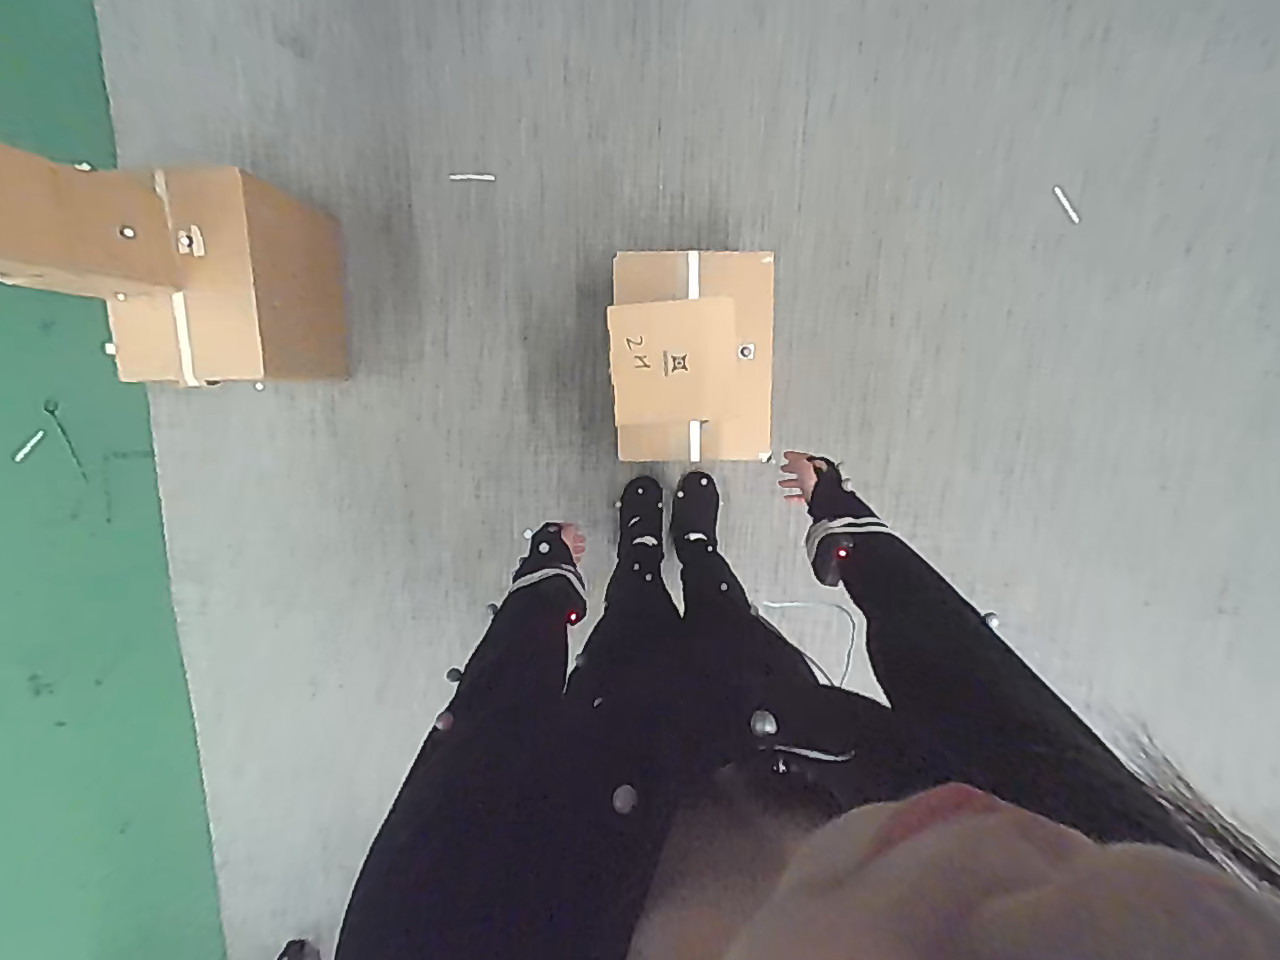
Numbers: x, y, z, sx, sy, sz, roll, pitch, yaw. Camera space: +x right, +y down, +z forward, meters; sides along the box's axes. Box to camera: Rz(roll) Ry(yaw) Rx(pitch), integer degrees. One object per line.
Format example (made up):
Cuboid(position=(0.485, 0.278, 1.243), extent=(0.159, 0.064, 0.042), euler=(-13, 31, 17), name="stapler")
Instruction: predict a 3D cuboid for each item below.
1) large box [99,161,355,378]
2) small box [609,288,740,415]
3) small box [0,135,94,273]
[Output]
Cuboid(position=(-0.900, -0.442, 1.231), extent=(0.320, 0.320, 0.408), euler=(0, 99, 3), name="large box")
Cuboid(position=(0.053, -0.191, 0.825), extent=(0.179, 0.176, 0.168), euler=(-3, 100, 5), name="small box")
Cuboid(position=(-1.005, -0.425, 0.825), extent=(0.168, 0.176, 0.179), euler=(0, 101, 6), name="small box")
